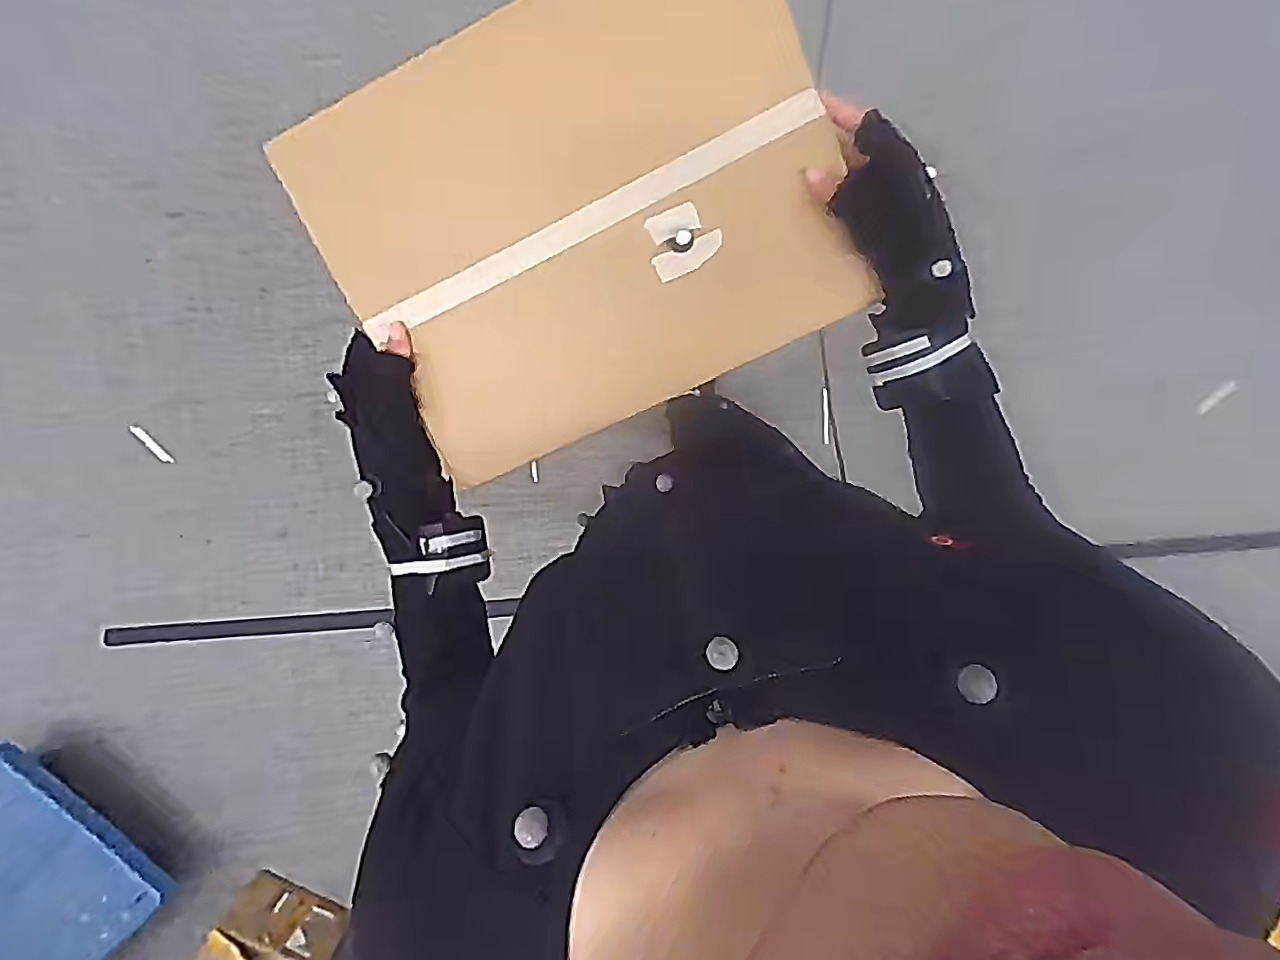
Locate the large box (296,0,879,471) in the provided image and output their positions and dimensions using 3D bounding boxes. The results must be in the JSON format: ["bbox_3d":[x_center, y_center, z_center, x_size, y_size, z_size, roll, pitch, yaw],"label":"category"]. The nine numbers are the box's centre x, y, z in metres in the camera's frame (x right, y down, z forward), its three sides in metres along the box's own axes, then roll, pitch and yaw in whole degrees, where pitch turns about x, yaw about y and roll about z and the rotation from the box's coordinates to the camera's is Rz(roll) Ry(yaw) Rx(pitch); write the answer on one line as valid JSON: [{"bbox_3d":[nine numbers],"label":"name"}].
[{"bbox_3d":[-0.038,-0.255,0.588,0.408,0.320,0.320,-24,104,6],"label":"large box"}]
